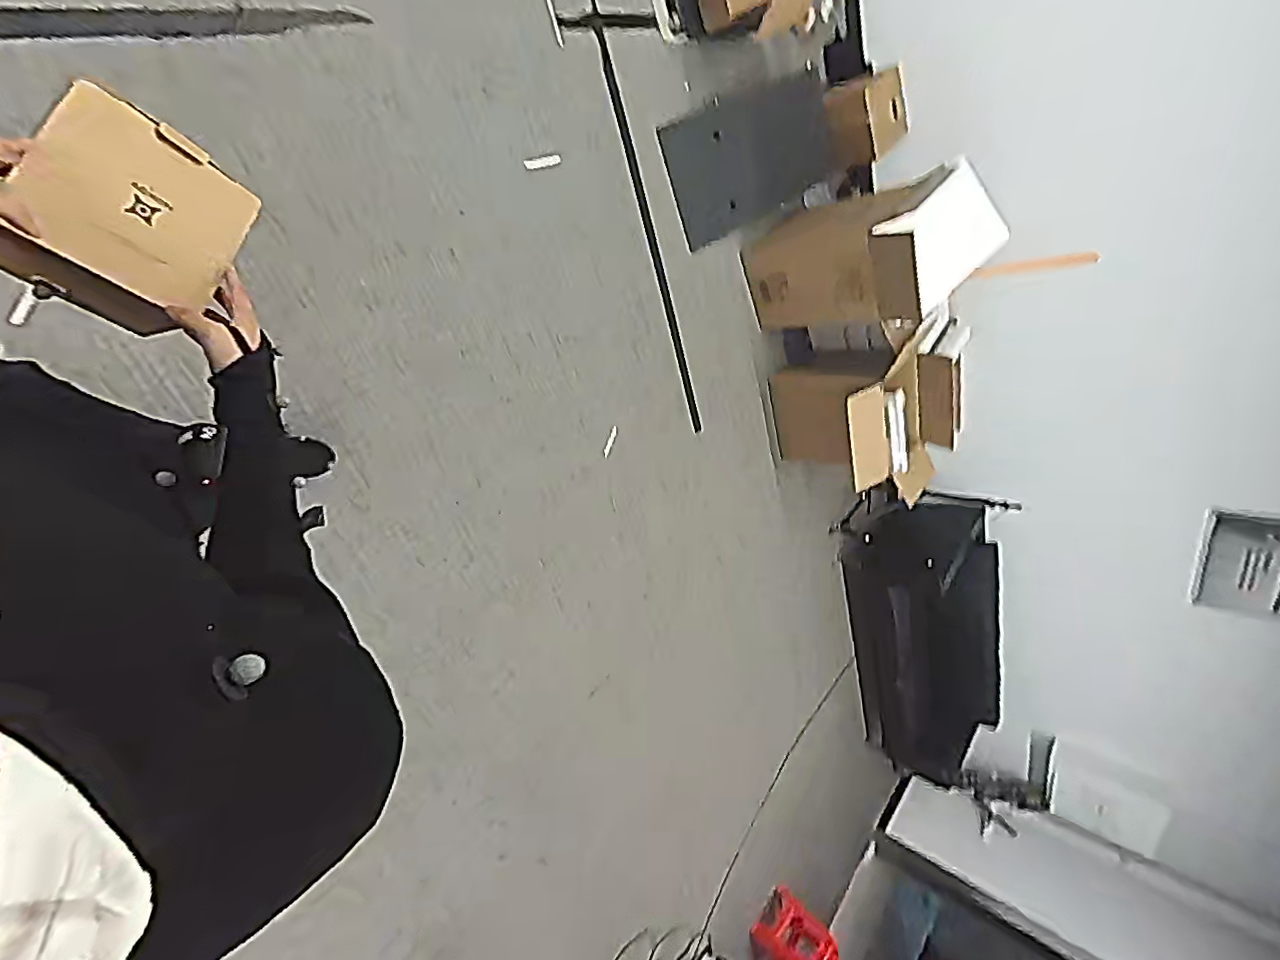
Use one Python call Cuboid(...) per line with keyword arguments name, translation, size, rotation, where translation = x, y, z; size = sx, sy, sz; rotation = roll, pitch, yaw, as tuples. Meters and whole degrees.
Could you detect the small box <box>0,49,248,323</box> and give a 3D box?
Cuboid(name="small box", translation=(-0.573, -0.290, 0.574), size=(0.168, 0.176, 0.179), rotation=(35, 63, -53))
